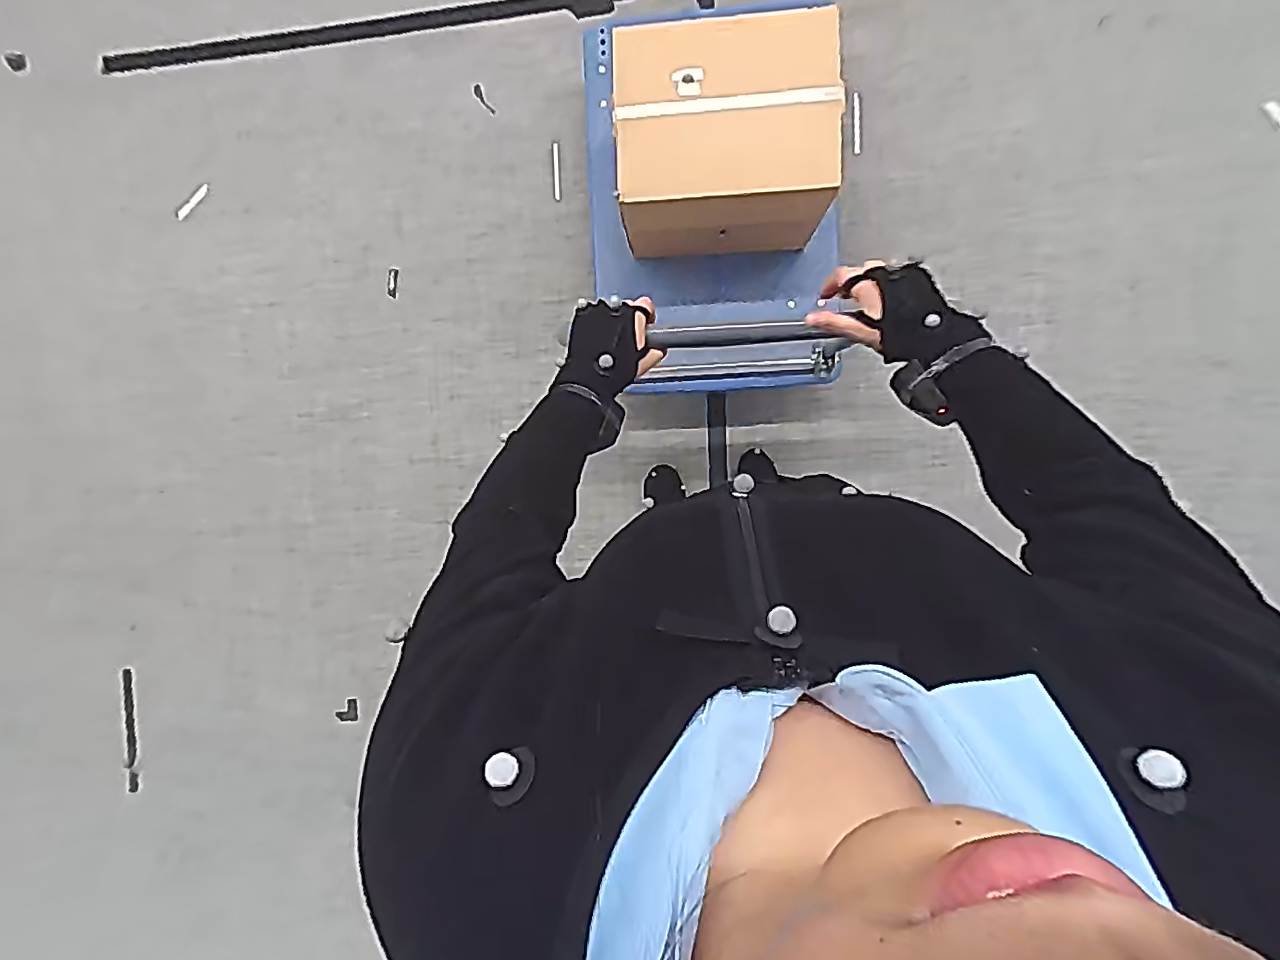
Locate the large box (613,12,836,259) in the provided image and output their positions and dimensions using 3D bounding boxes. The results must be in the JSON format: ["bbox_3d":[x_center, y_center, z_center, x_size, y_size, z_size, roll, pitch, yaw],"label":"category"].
[{"bbox_3d":[0.171,-0.687,1.144,0.408,0.320,0.320,-2,92,6],"label":"large box"}]
